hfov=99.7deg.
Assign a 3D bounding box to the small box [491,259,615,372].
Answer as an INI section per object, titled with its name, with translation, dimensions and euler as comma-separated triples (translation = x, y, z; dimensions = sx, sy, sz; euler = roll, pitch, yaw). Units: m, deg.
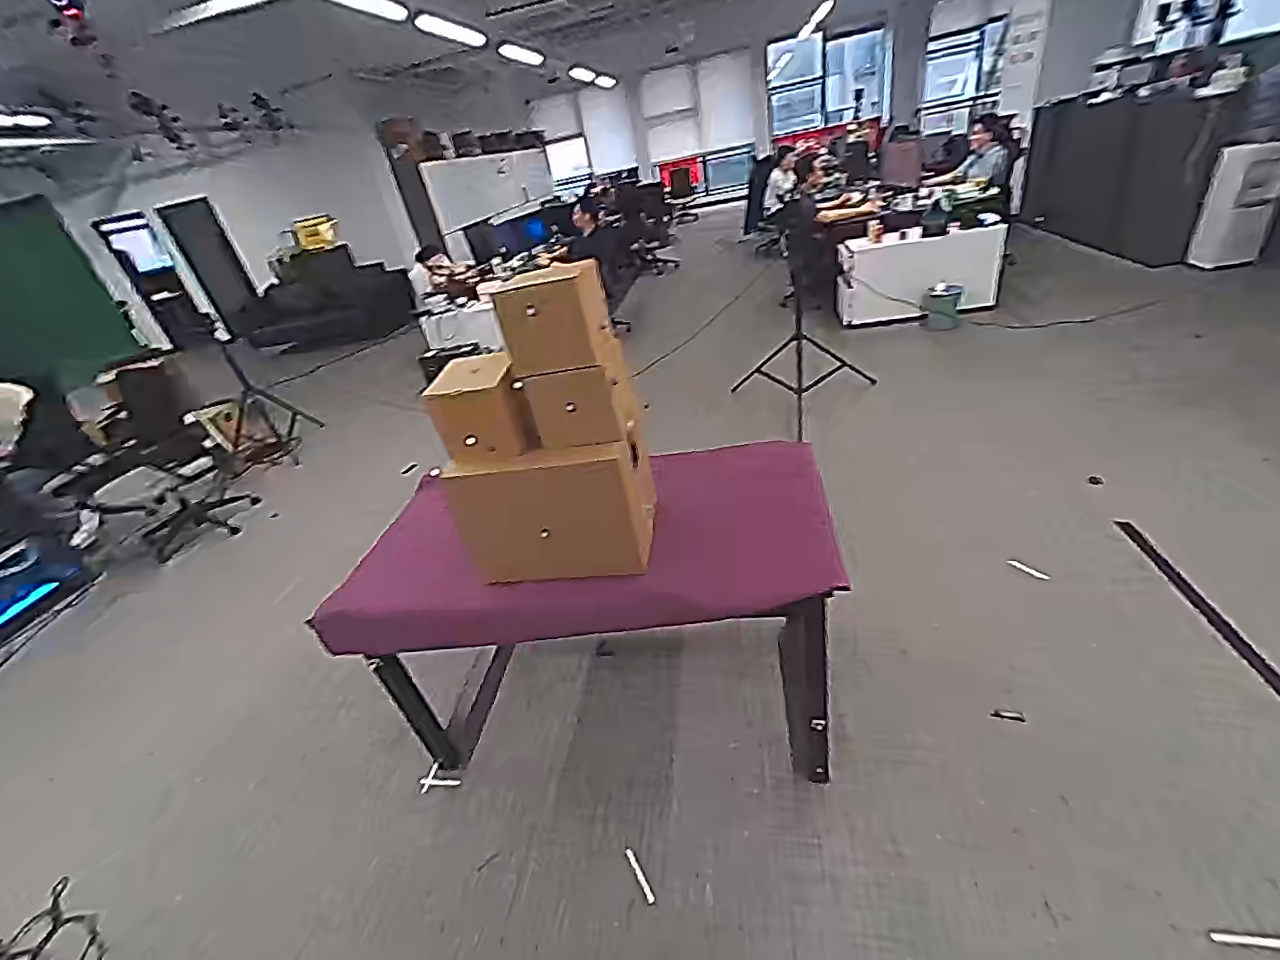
[small box]
translation = -0.164, -0.326, 1.079
dimensions = 0.179, 0.176, 0.168
euler = -6, 31, 13
